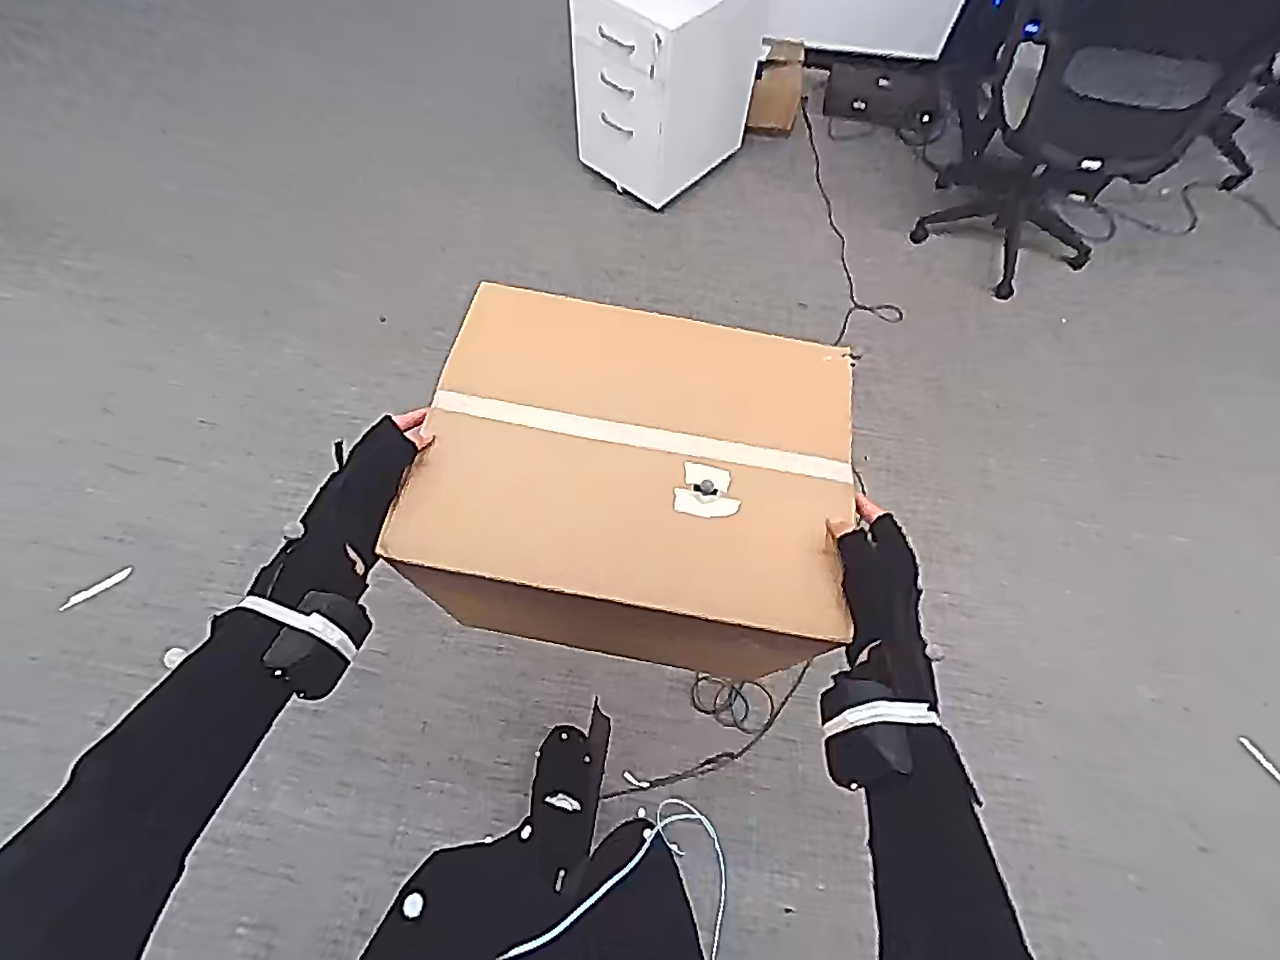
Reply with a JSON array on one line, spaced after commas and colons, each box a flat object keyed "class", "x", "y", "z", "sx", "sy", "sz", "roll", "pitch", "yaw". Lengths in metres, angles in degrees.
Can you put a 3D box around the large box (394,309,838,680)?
[{"class": "large box", "x": -0.013, "y": 0.040, "z": 0.669, "sx": 0.408, "sy": 0.320, "sz": 0.320, "roll": 11, "pitch": 64, "yaw": 0}]
